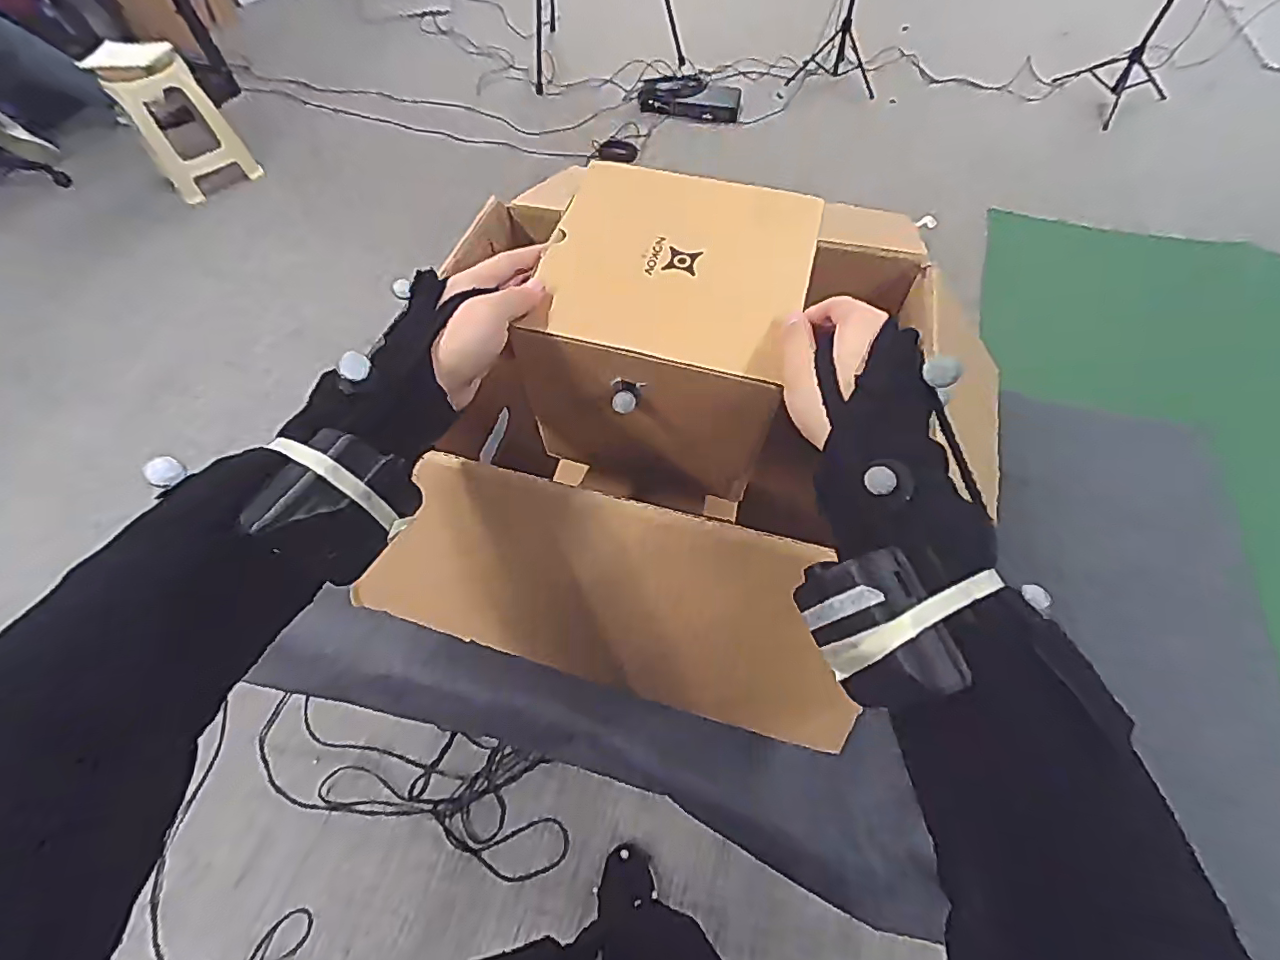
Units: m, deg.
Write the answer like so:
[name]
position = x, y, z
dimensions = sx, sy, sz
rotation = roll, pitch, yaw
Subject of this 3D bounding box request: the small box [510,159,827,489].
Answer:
[small box]
position = 0.026, -0.110, 0.425
dimensions = 0.179, 0.176, 0.168
rotation = 14, 64, 8
